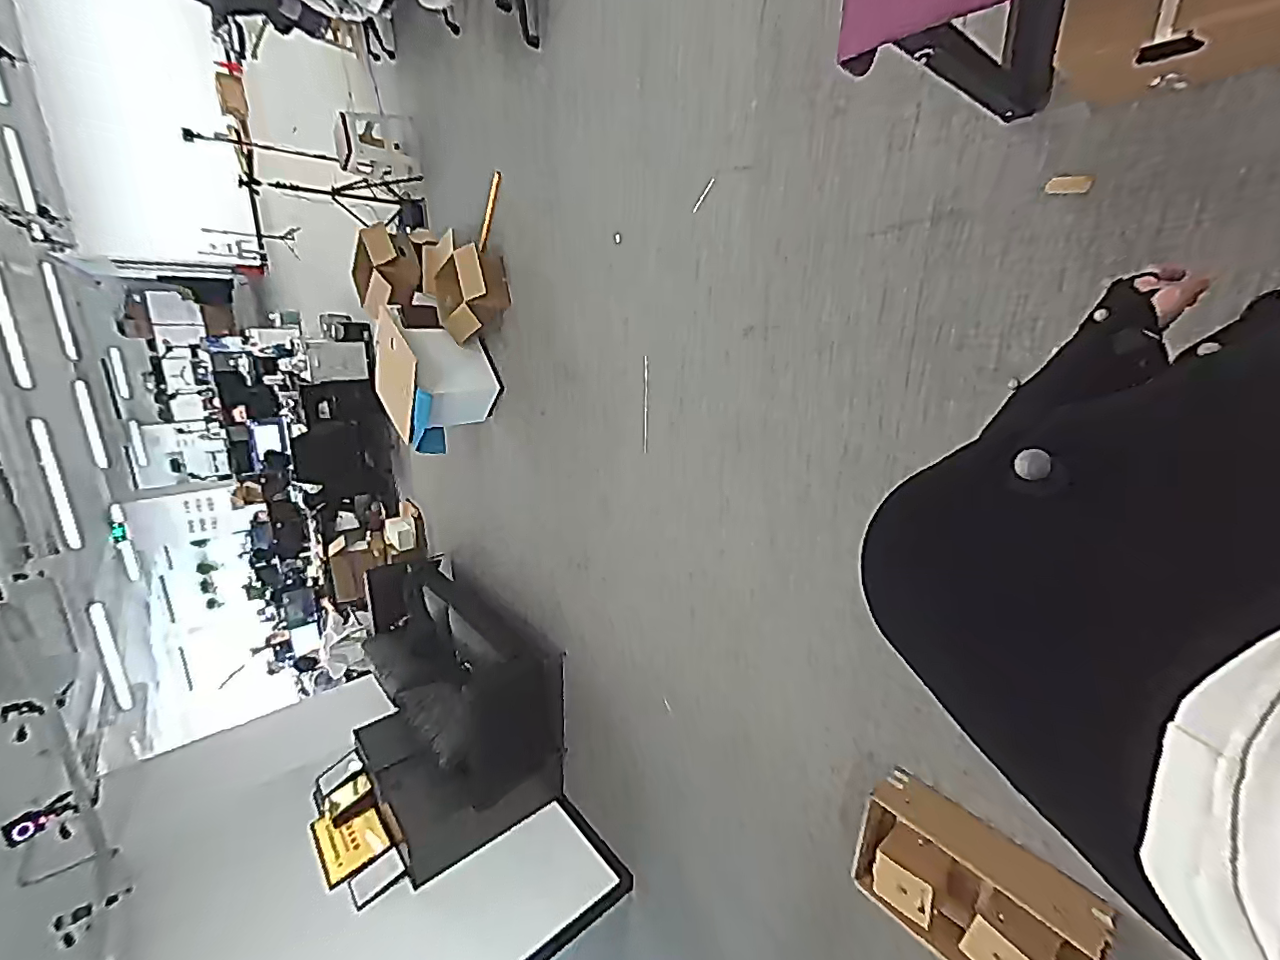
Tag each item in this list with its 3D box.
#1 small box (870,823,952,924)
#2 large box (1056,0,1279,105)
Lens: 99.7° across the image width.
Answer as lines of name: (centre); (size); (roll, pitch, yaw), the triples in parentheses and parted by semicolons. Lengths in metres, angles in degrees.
small box: (0.880, 1.264, 1.758); (0.179, 0.176, 0.168); (15, 111, 47)
large box: (0.998, -0.965, 0.949); (0.320, 0.320, 0.408); (19, 114, 46)
